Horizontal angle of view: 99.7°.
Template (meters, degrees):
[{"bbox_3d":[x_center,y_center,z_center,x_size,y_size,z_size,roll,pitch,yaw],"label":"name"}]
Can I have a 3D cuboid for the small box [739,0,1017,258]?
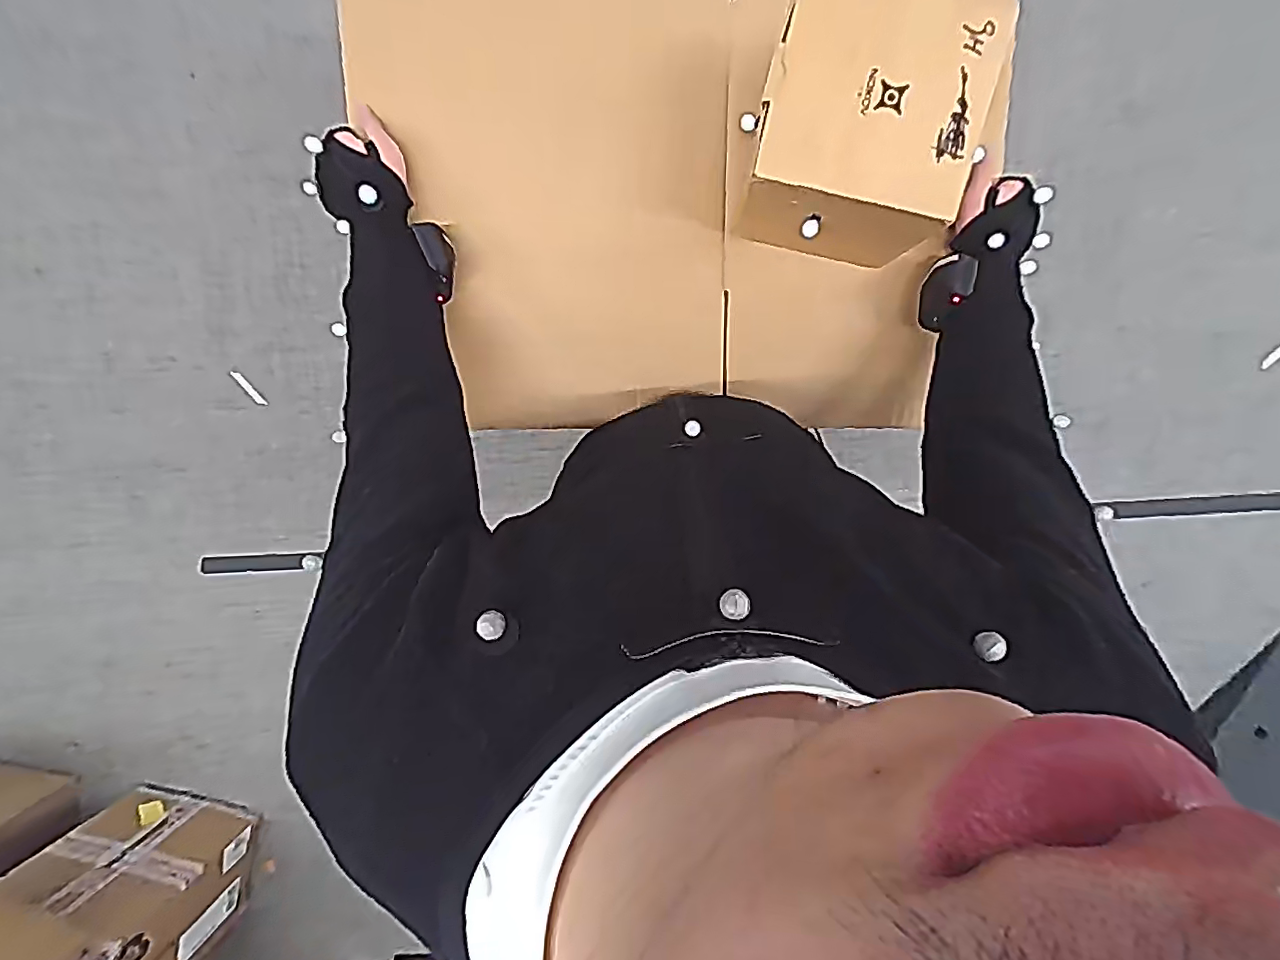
[{"bbox_3d":[0.202,-0.331,0.522,0.179,0.176,0.168,14,100,2],"label":"small box"}]
